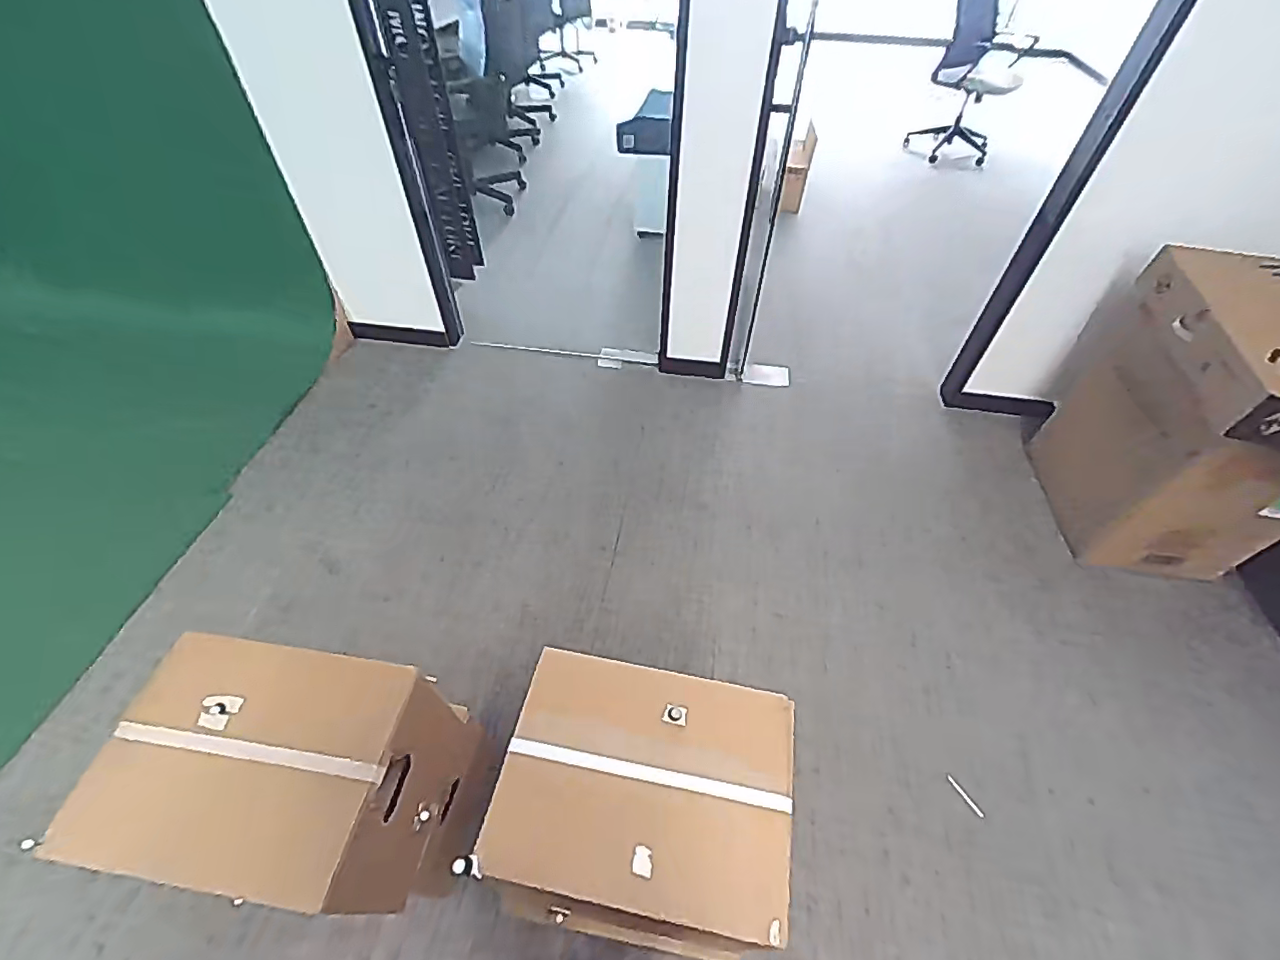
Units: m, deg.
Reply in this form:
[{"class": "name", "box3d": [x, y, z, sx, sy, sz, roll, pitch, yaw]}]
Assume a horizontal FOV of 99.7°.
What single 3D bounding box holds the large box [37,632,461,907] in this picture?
[{"class": "large box", "box3d": [-0.570, 0.480, 0.896, 0.408, 0.320, 0.320, 7, 52, 6]}]
